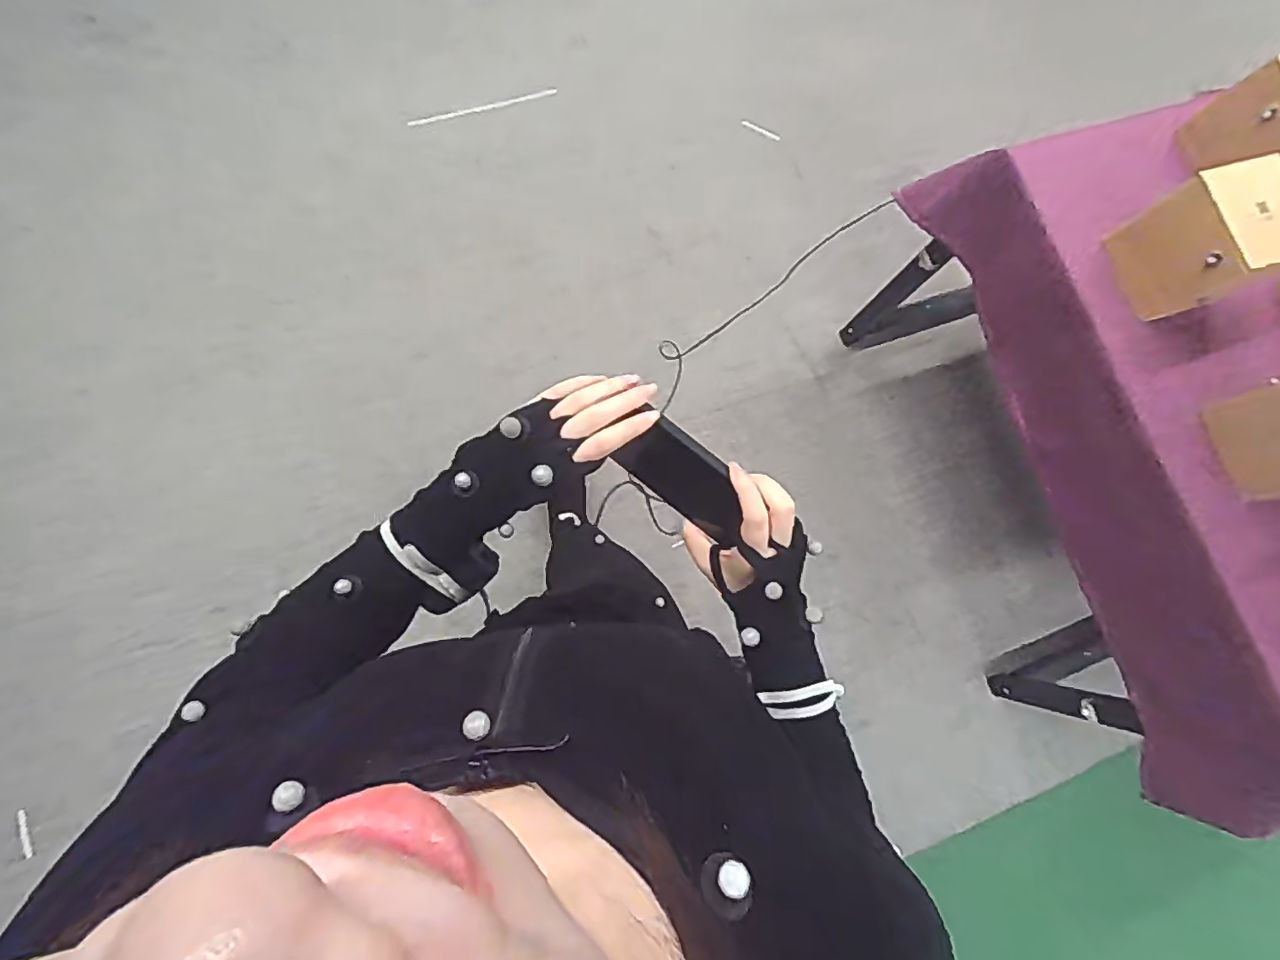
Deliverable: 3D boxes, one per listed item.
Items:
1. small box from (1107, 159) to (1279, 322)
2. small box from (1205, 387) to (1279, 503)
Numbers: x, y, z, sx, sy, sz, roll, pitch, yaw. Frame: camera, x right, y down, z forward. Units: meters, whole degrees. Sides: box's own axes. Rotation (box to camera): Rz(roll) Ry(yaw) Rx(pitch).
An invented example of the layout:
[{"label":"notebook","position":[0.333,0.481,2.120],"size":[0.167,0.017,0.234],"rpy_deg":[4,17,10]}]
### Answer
[{"label":"small box","position":[0.962,-0.399,0.921],"size":[0.168,0.176,0.179],"rpy_deg":[-17,83,-9]},{"label":"small box","position":[1.091,-0.074,0.874],"size":[0.168,0.176,0.179],"rpy_deg":[-15,82,-9]}]
